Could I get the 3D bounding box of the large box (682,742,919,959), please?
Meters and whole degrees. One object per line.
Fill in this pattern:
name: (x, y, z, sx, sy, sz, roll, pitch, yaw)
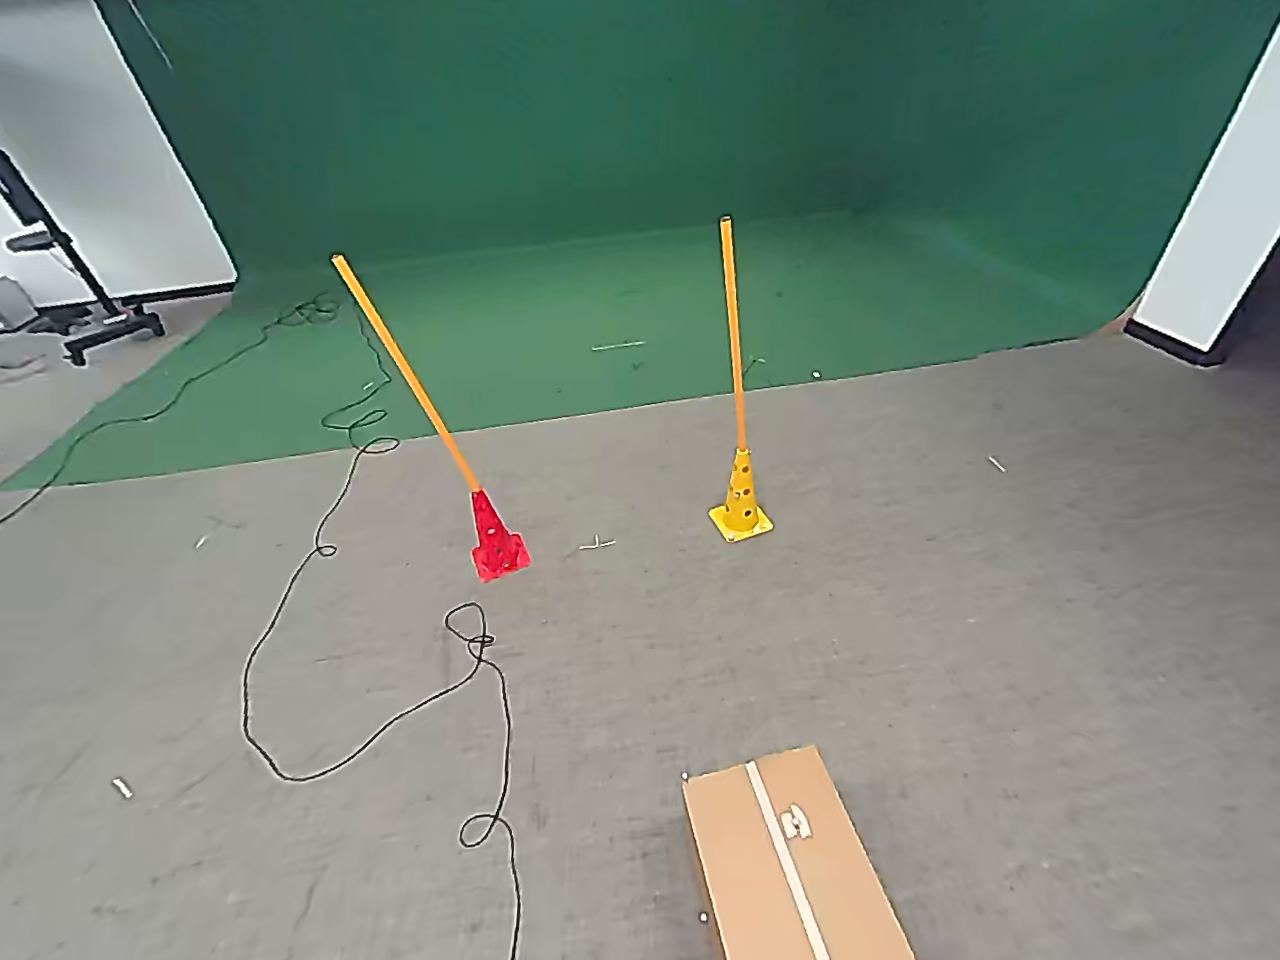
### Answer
large box: (0.297, 0.849, 1.130, 0.320, 0.320, 0.408, -11, 38, -7)
